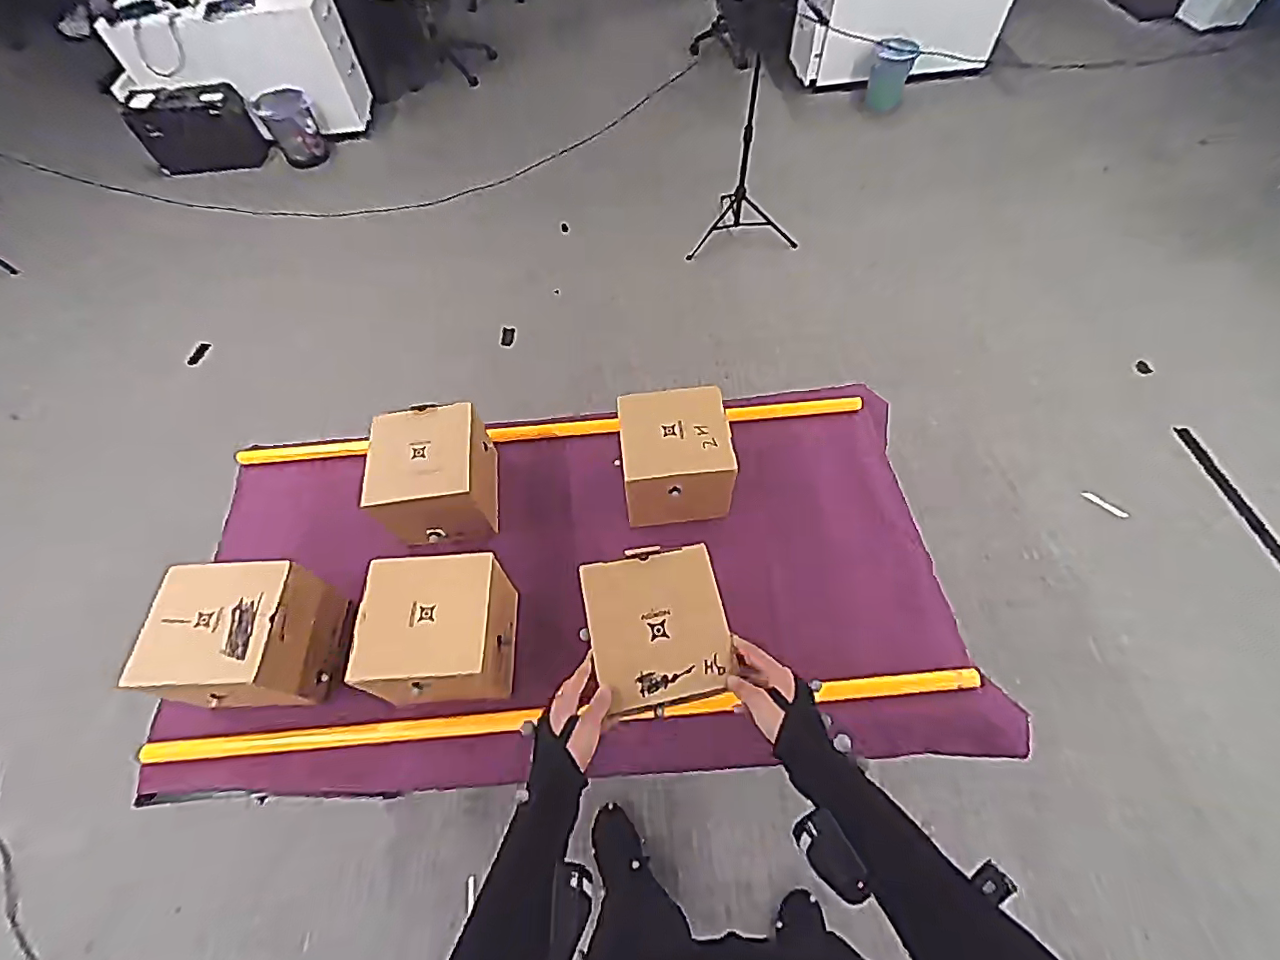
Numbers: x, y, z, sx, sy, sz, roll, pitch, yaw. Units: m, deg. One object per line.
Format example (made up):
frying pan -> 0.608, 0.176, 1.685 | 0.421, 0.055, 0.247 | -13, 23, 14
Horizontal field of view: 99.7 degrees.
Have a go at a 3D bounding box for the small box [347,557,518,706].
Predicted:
small box -> -0.281, 0.223, 0.782 | 0.179, 0.176, 0.168 | -4, 58, 0

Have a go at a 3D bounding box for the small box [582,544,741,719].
small box -> 0.018, 0.206, 0.717 | 0.168, 0.176, 0.179 | -9, 64, -6

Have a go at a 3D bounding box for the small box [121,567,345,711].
small box -> -0.564, 0.234, 0.783 | 0.179, 0.176, 0.168 | -2, 59, 0

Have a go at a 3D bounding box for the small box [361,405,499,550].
small box -> -0.344, 0.000, 0.920 | 0.168, 0.176, 0.179 | -8, 60, -2

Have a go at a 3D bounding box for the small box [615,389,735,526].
small box -> 0.056, -0.032, 0.921 | 0.179, 0.176, 0.168 | -6, 60, -1
